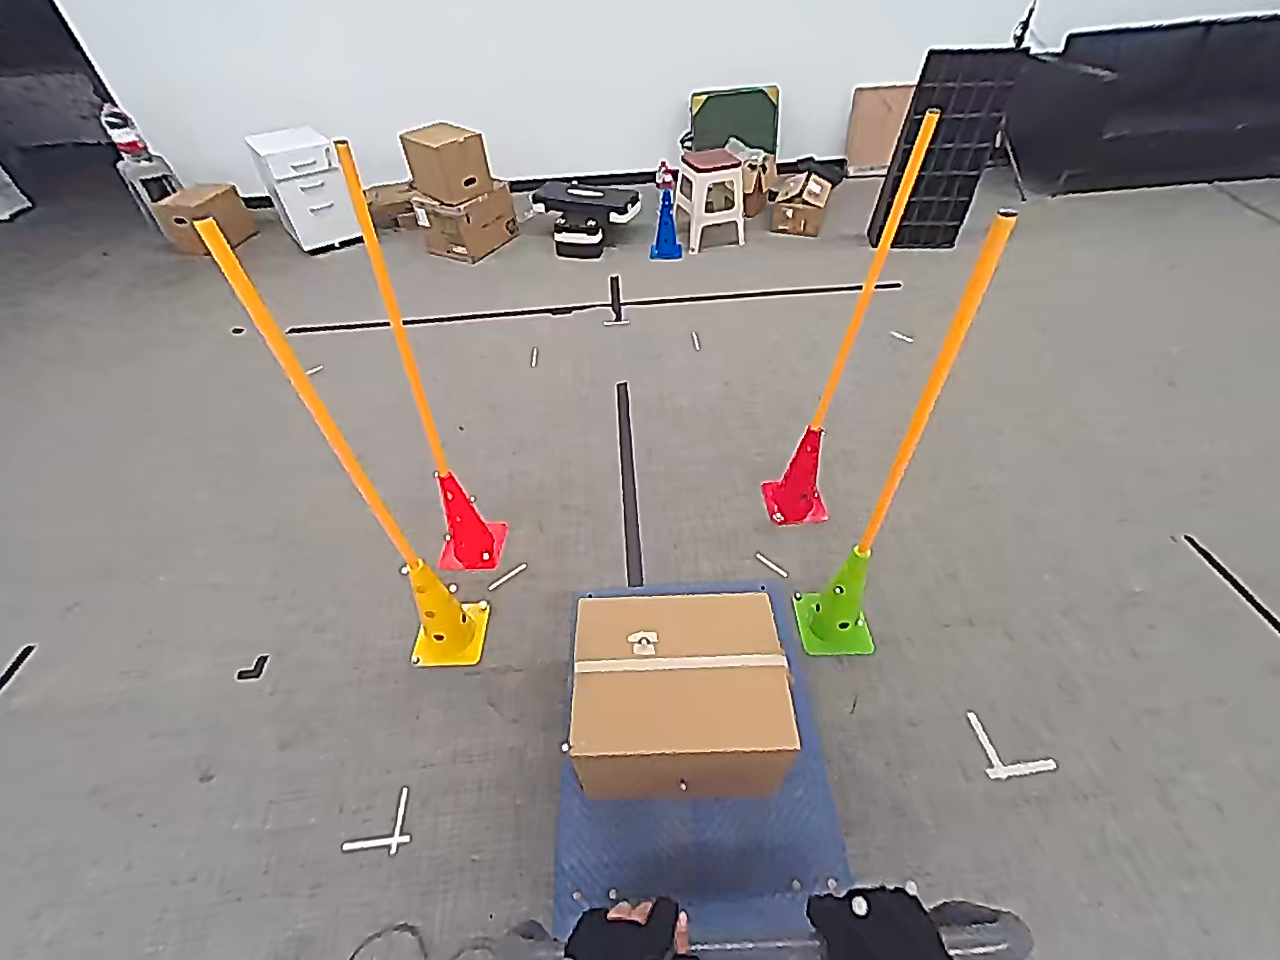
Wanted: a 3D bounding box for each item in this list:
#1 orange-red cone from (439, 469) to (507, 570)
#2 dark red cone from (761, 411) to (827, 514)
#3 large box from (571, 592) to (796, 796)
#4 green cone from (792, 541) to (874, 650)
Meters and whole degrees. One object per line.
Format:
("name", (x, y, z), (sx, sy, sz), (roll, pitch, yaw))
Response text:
("orange-red cone", (-0.572, 0.101, 1.728), (0.198, 0.360, 0.199), (2, 45, 3))
("dark red cone", (0.547, -0.065, 1.811), (0.201, 0.394, 0.202), (-3, 46, -3))
("large box", (0.080, 0.460, 1.153), (0.408, 0.320, 0.320), (-3, 46, 1))
("green cone", (0.565, 0.296, 1.487), (0.202, 0.368, 0.200), (-1, 46, 0))
